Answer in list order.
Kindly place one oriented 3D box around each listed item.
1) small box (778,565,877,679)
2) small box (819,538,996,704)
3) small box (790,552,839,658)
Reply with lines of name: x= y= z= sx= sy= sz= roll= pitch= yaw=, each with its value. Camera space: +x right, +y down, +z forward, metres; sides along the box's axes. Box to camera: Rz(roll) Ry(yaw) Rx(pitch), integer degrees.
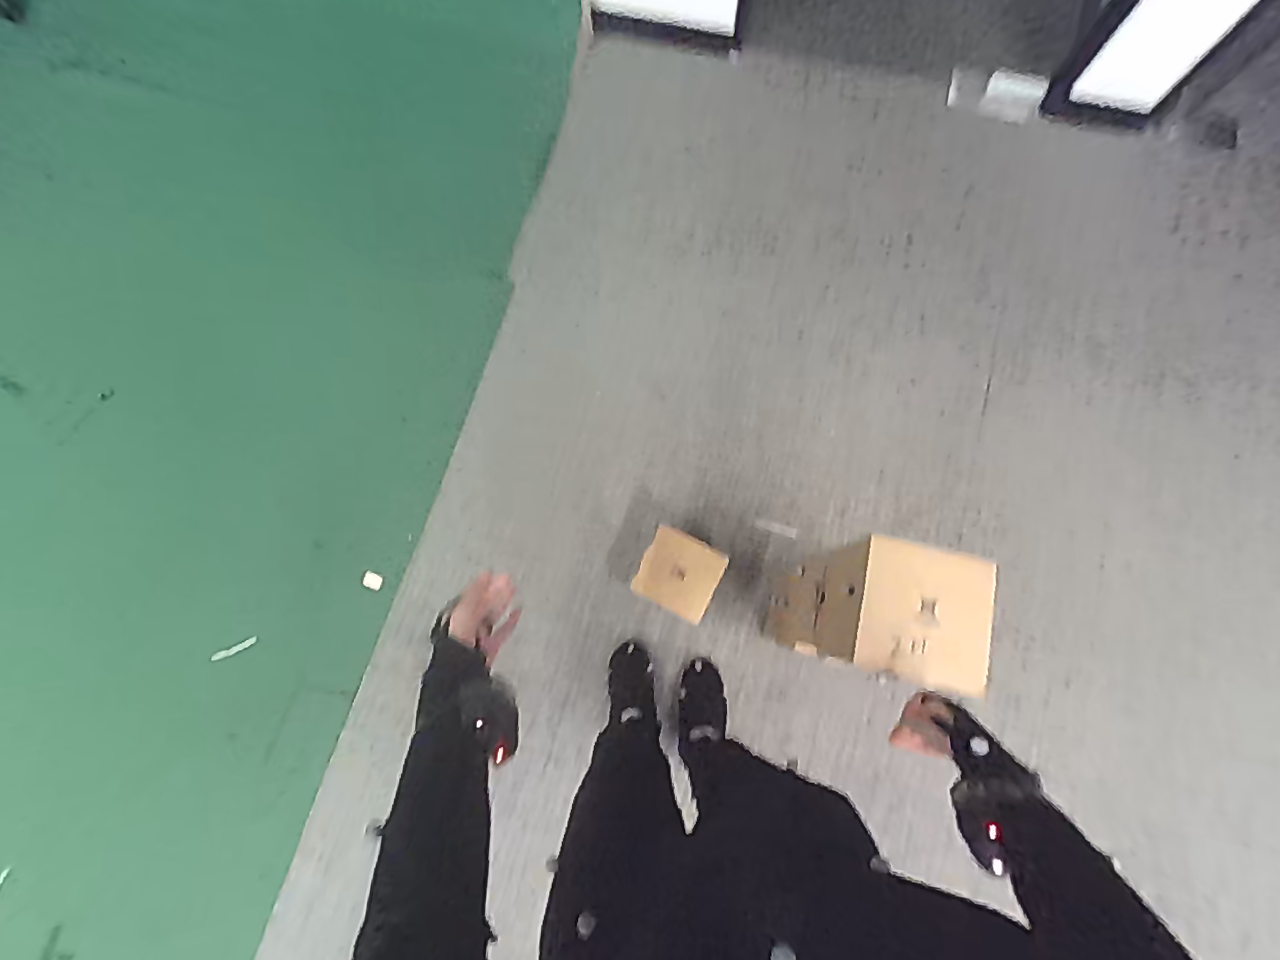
small box: x=0.385 y=0.280 z=1.089 sx=0.168 sy=0.176 sz=0.179 roll=14 pitch=78 yaw=5
small box: x=0.368 y=0.196 z=0.771 sx=0.168 sy=0.176 sz=0.179 roll=13 pitch=77 yaw=6
small box: x=0.372 y=0.234 z=0.931 sx=0.179 sy=0.176 sz=0.168 roll=15 pitch=77 yaw=5
